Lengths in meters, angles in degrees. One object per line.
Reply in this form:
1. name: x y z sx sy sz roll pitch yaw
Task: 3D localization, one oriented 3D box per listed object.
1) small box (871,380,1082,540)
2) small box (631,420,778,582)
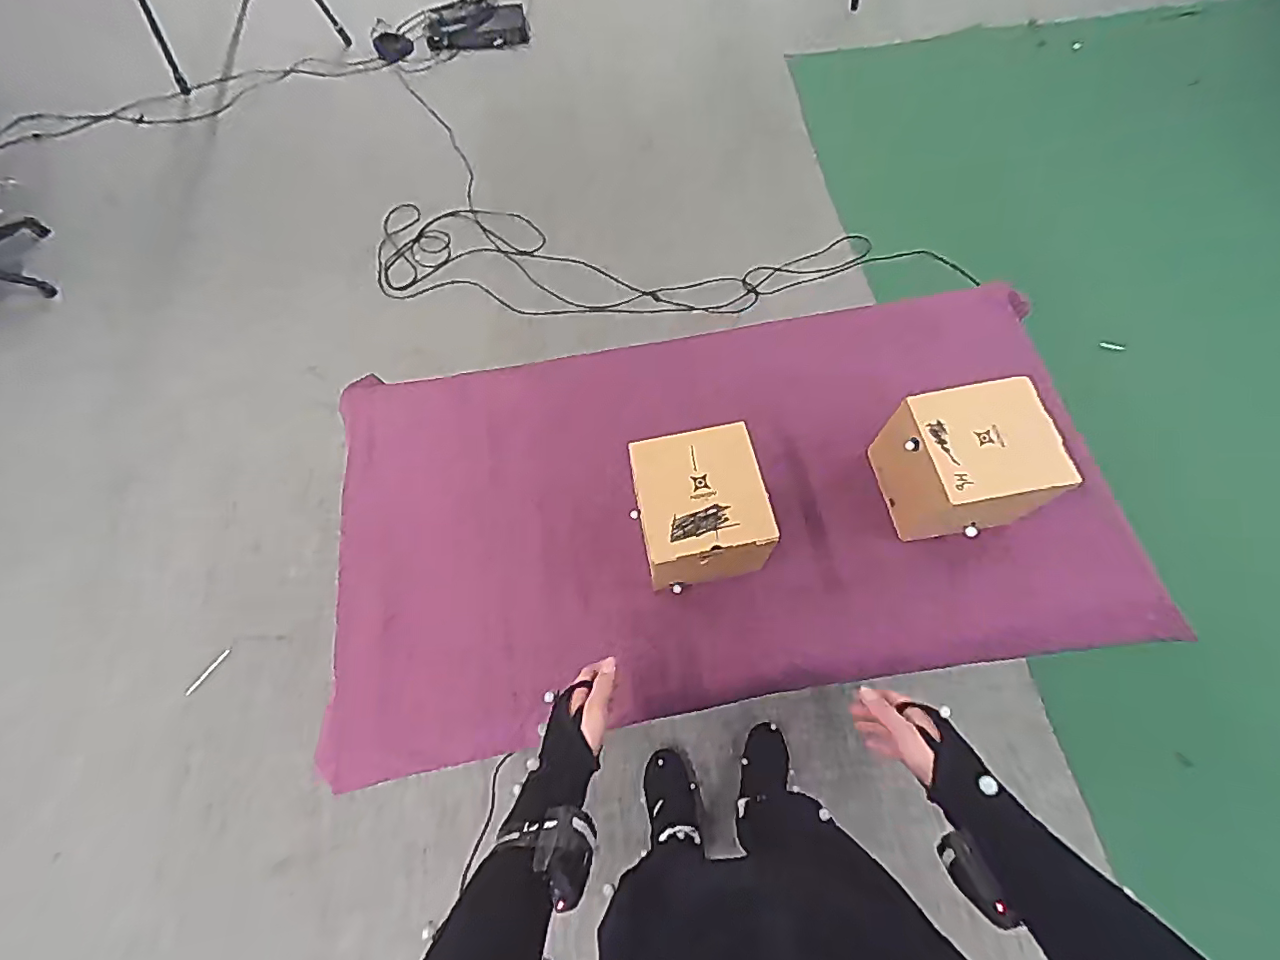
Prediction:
1. small box: 0.470 -0.022 0.788 0.179 0.176 0.168 -8 67 -1
2. small box: 0.084 0.040 0.778 0.168 0.176 0.179 -10 66 -2
